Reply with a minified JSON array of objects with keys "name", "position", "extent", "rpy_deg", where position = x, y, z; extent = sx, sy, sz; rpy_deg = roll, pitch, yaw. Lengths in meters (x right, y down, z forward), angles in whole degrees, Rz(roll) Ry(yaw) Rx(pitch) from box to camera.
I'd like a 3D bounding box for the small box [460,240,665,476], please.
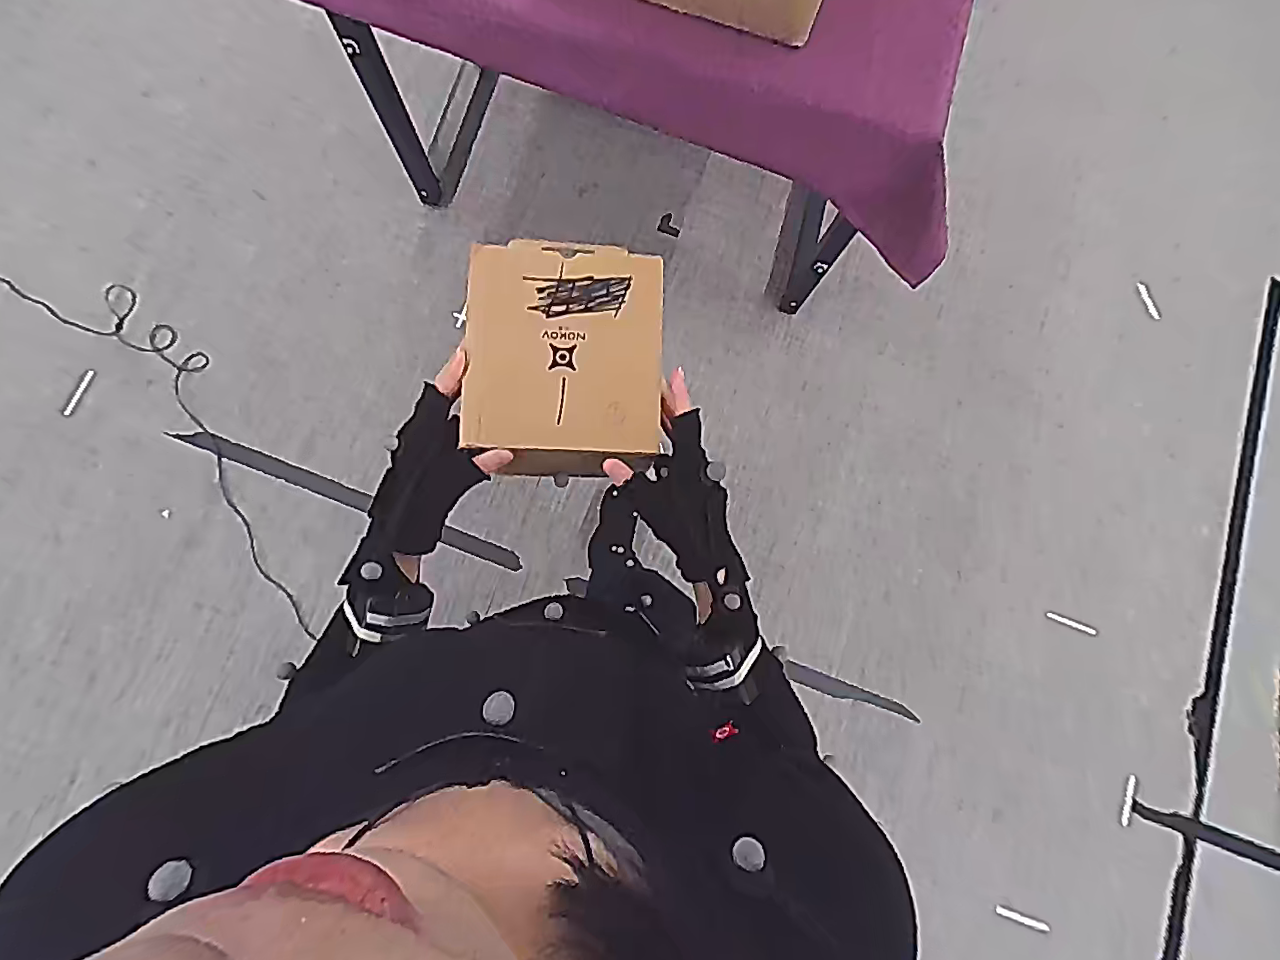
[{"name":"small box","position":[-0.069,-0.104,0.530],"extent":[0.168,0.176,0.179],"rpy_deg":[2,83,-4]}]
